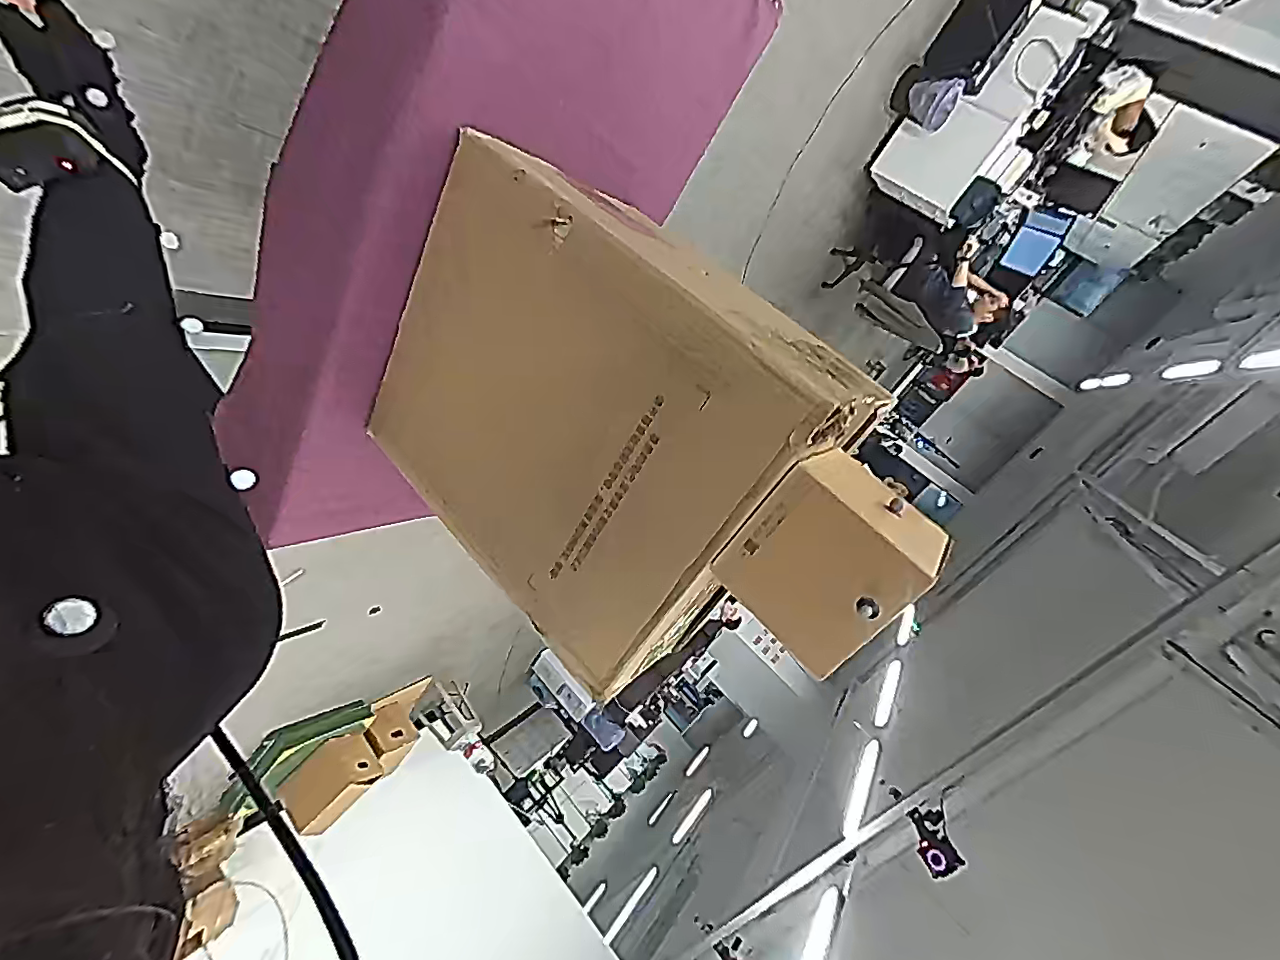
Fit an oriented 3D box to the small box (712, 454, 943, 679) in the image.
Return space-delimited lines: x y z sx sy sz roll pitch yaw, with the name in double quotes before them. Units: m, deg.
"small box" 0.216 0.084 0.626 0.179 0.176 0.168 -16 146 -57
